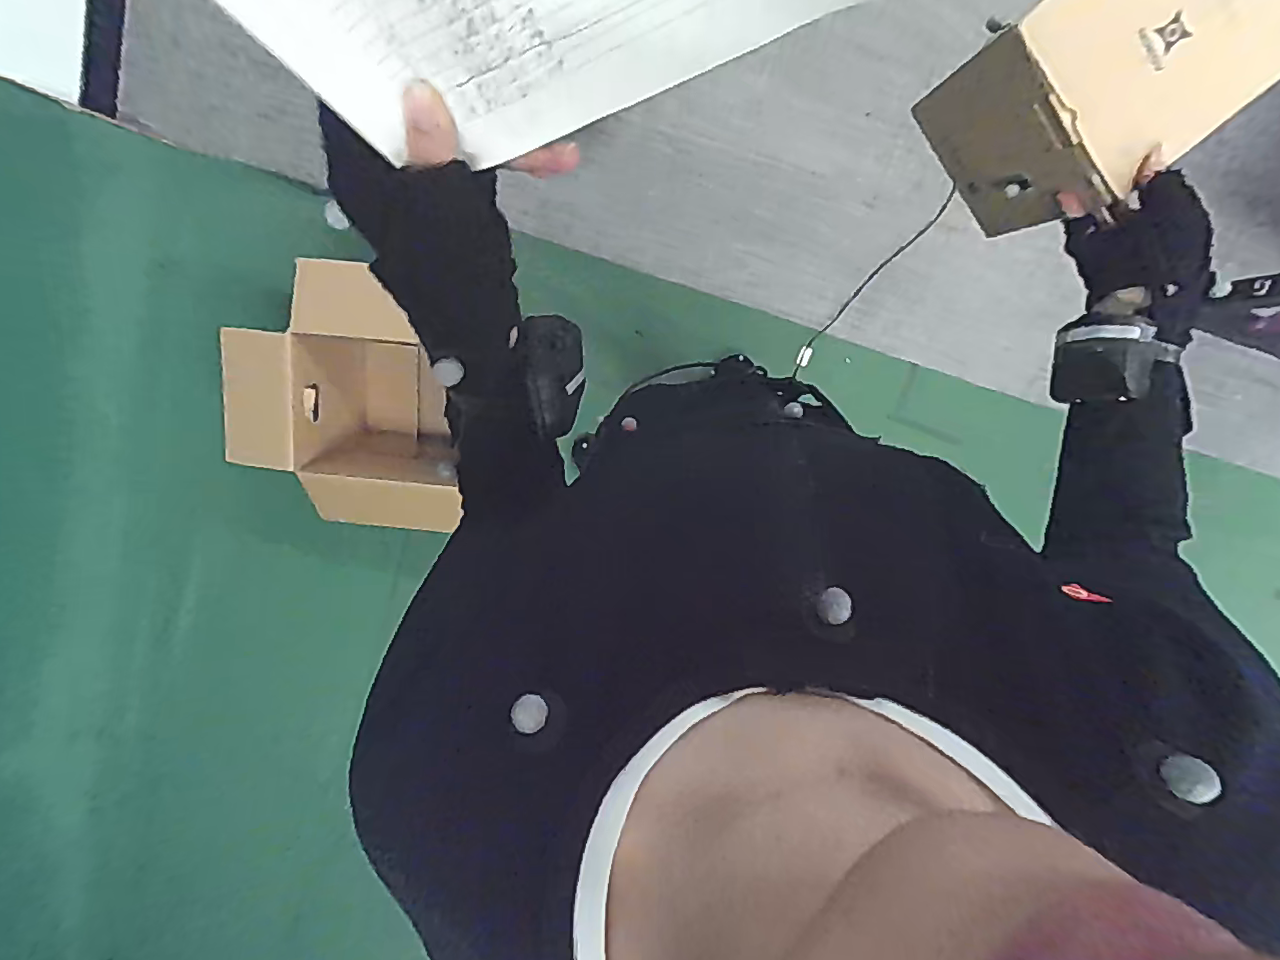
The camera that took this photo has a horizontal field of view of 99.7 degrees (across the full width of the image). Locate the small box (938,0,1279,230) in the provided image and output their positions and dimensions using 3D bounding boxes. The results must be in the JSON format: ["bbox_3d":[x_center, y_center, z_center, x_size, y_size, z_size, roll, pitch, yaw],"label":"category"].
[{"bbox_3d":[0.408,-0.358,0.488,0.179,0.176,0.168,-38,102,9],"label":"small box"}]
